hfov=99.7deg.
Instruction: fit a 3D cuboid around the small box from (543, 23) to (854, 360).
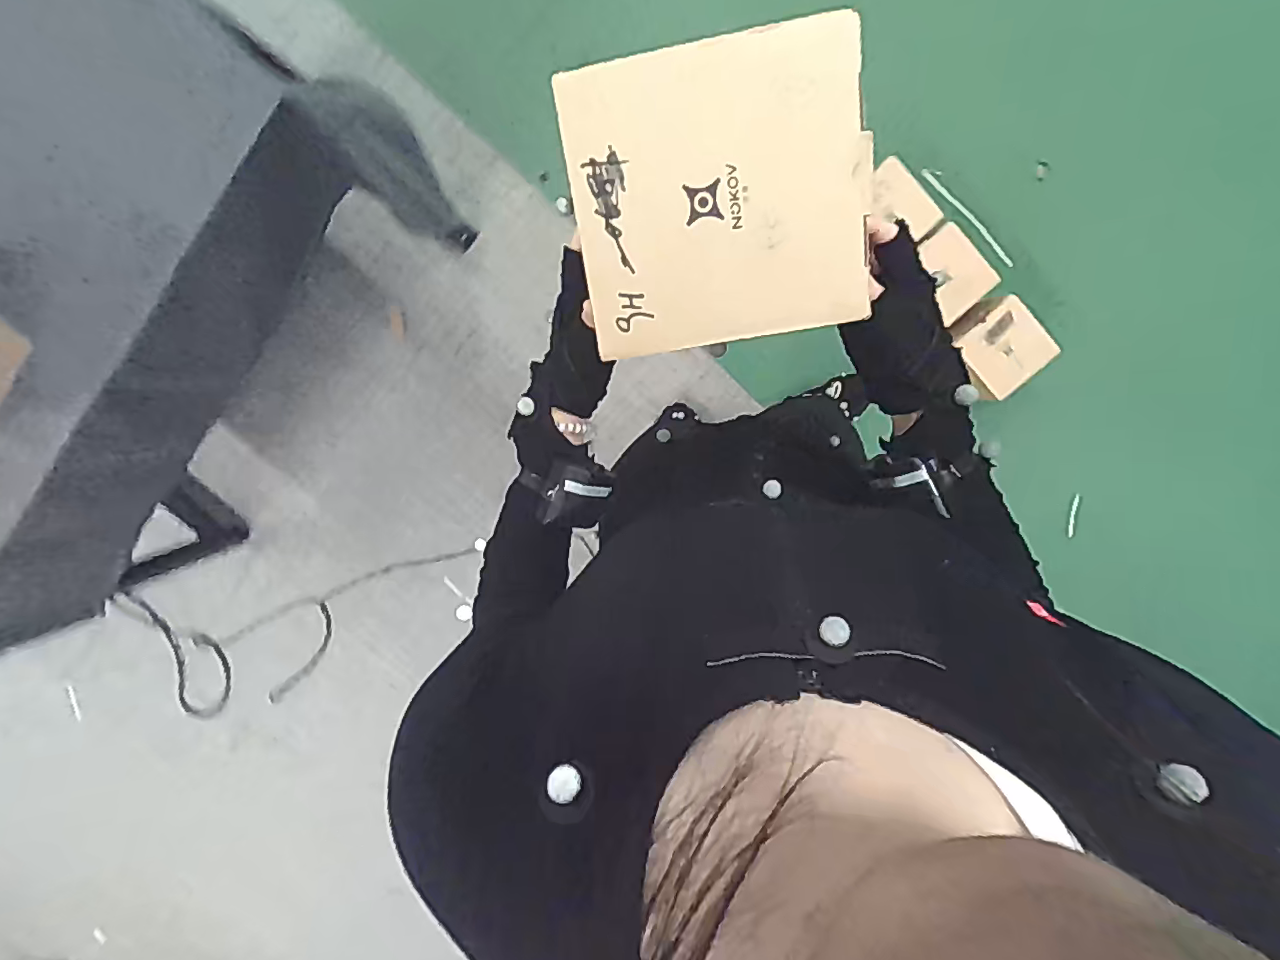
[{"bbox_3d":[0.042,-0.190,0.406,0.179,0.176,0.168,-8,105,5],"label":"small box"}]
